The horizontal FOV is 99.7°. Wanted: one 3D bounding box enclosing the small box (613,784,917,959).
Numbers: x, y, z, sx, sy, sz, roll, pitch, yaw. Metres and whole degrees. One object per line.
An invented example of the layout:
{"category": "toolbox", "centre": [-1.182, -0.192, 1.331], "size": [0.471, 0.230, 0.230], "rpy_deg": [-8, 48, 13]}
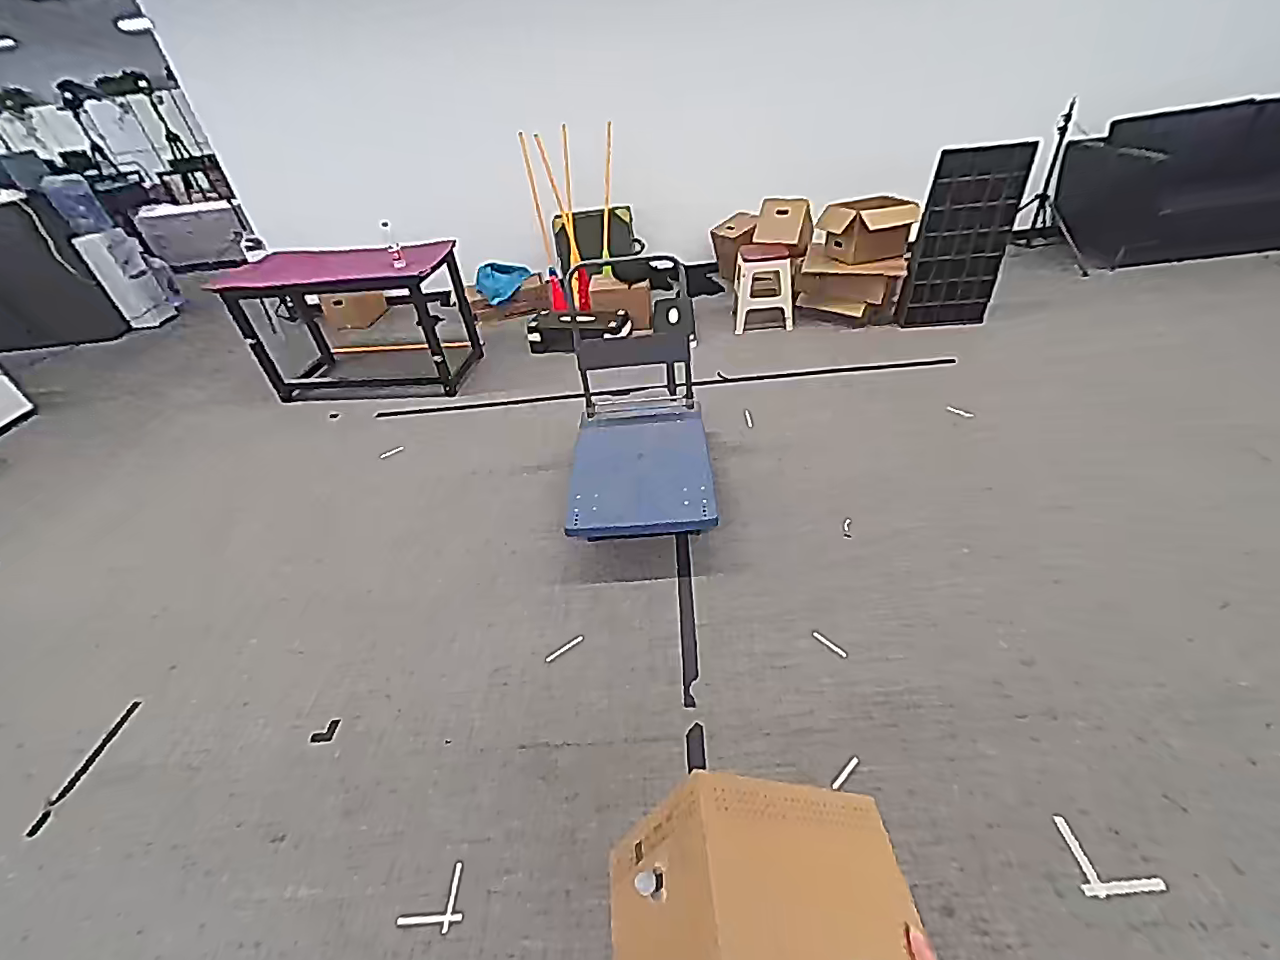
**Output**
{"category": "small box", "centre": [0.091, 0.357, 0.410], "size": [0.179, 0.168, 0.176], "rpy_deg": [19, 32, -18]}
